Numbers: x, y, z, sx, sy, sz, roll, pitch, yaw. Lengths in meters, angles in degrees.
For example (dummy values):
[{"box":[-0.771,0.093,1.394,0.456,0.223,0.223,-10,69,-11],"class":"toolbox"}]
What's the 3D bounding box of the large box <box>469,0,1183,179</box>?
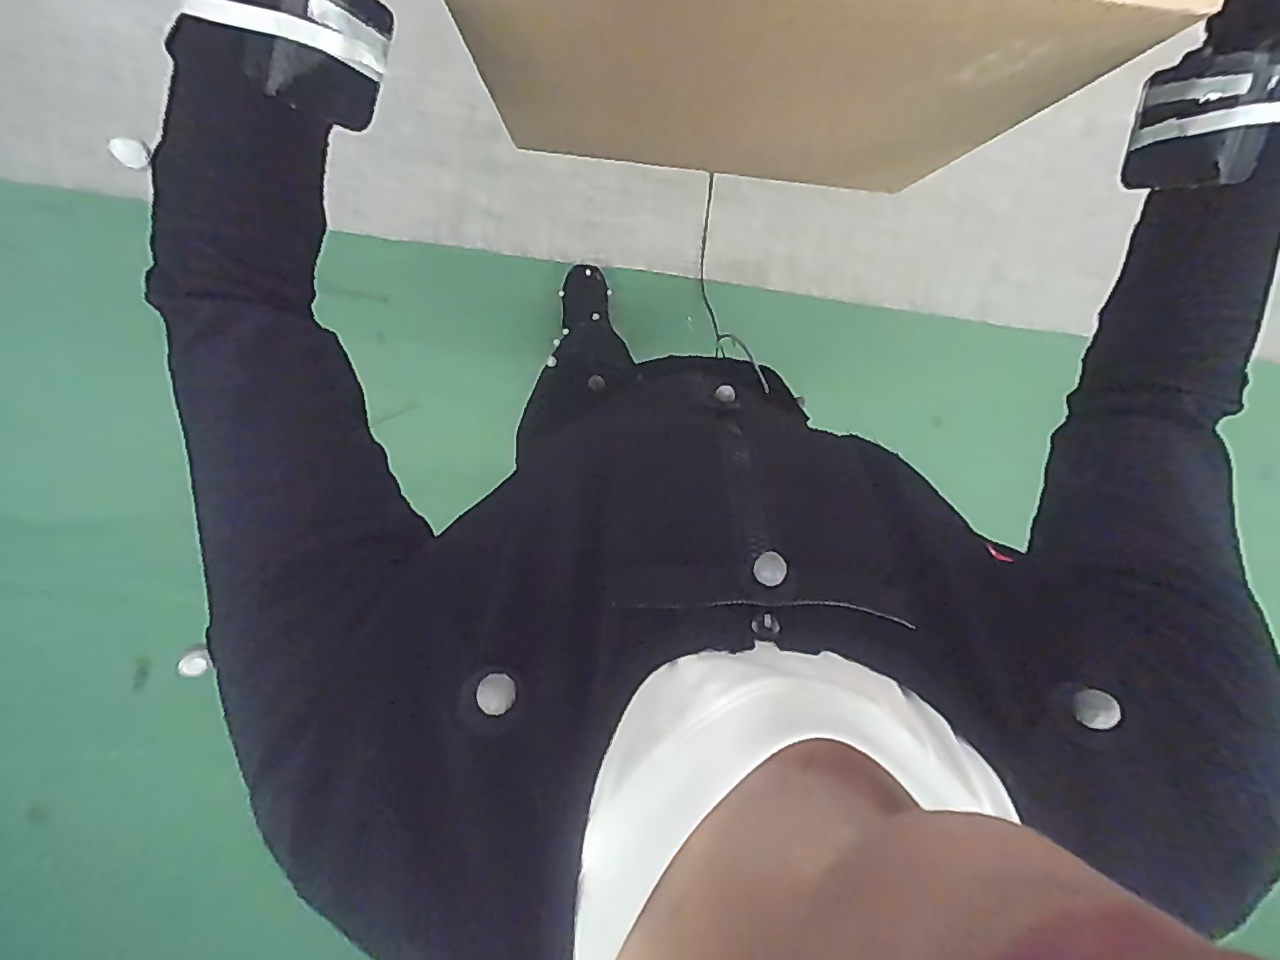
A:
[{"box":[0.094,-0.441,0.382,0.408,0.320,0.320,3,103,-5],"class":"large box"}]
